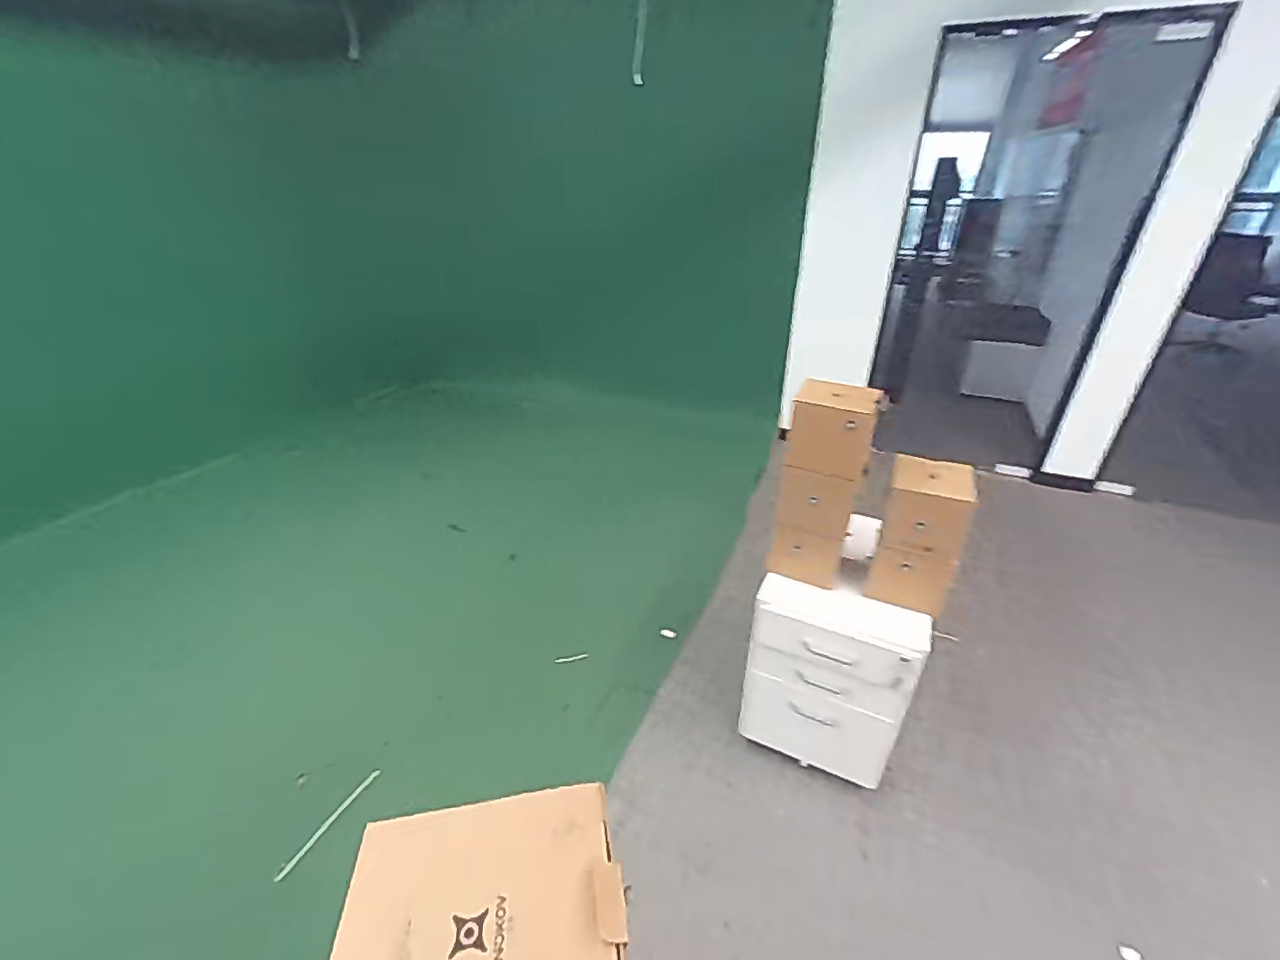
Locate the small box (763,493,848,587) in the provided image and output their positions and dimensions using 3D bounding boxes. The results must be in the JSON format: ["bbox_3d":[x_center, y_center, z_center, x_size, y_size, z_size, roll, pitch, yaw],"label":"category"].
[{"bbox_3d":[0.442,0.160,1.454,0.179,0.176,0.168,15,34,22],"label":"small box"}]

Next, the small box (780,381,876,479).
[{"bbox_3d":[0.444,-0.120,1.287,0.179,0.176,0.168,16,33,22],"label":"small box"}]

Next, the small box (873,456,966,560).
[{"bbox_3d":[0.664,0.065,1.292,0.168,0.176,0.179,13,33,21],"label":"small box"}]

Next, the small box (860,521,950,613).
[{"bbox_3d":[0.669,0.210,1.370,0.179,0.176,0.168,14,34,23],"label":"small box"}]
